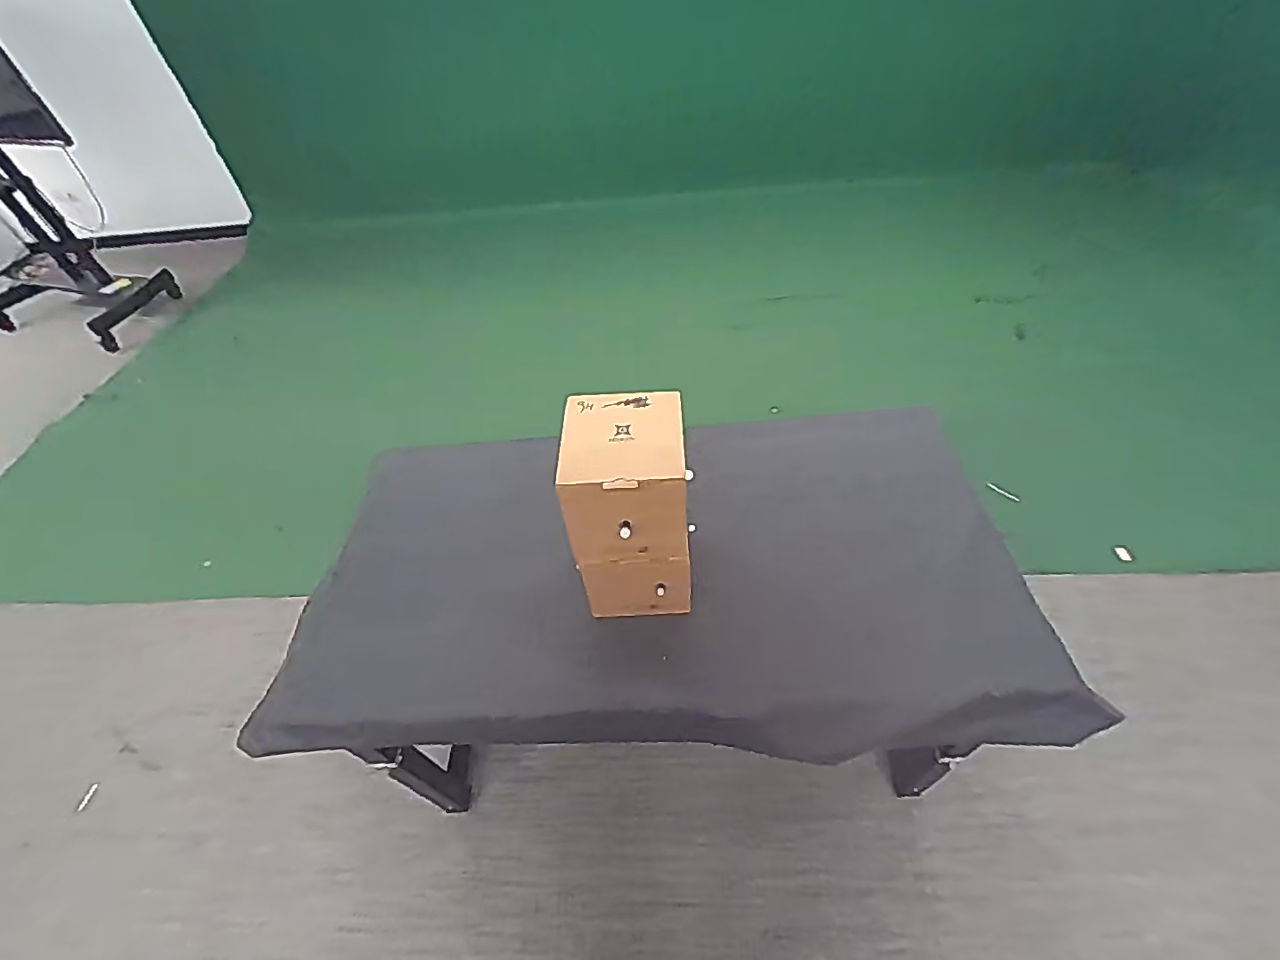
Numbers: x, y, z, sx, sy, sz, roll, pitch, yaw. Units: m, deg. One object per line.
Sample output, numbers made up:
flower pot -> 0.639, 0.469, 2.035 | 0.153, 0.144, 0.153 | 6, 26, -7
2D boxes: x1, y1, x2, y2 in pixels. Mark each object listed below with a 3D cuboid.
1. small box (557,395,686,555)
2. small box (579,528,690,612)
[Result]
small box -> -0.018, -0.002, 0.787 | 0.168, 0.176, 0.179 | -2, 49, 2
small box -> -0.004, 0.111, 0.906 | 0.168, 0.176, 0.179 | -3, 47, 1
